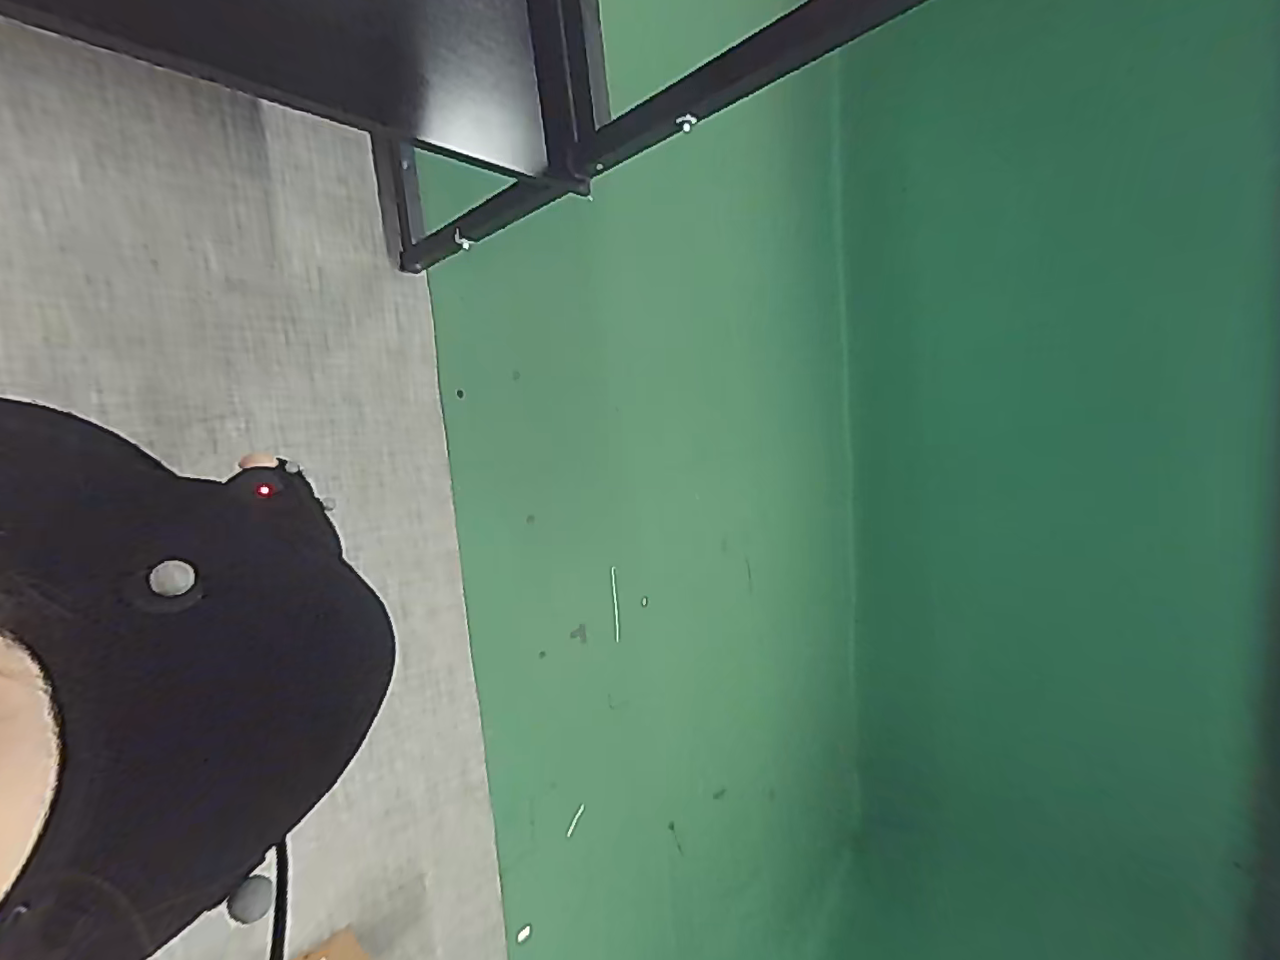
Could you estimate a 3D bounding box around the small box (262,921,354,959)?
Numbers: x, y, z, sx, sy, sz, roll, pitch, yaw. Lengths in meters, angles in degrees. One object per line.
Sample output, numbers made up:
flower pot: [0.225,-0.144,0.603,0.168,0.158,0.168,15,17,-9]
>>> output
small box: [-0.843,1.277,1.372,0.168,0.176,0.179,-5,95,-48]
